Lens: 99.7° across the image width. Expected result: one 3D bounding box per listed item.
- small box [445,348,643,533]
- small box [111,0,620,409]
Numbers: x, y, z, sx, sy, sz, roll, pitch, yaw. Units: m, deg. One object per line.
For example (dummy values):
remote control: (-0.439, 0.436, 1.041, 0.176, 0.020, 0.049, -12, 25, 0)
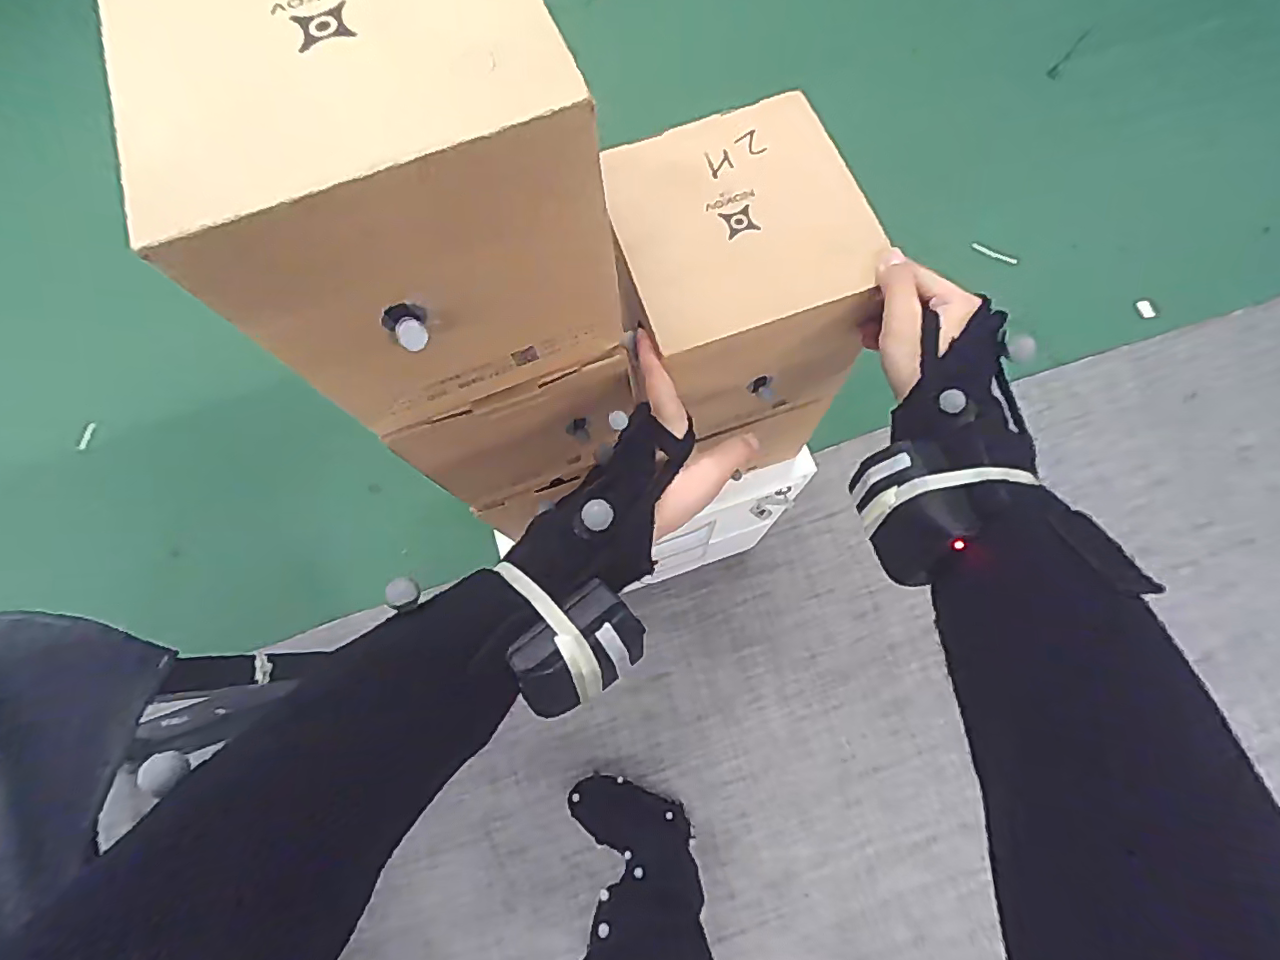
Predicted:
small box: (-0.099, -0.050, 0.595, 0.168, 0.176, 0.179, -18, 72, -3)
small box: (-0.117, -0.157, 0.289, 0.168, 0.176, 0.179, -21, 73, -5)
